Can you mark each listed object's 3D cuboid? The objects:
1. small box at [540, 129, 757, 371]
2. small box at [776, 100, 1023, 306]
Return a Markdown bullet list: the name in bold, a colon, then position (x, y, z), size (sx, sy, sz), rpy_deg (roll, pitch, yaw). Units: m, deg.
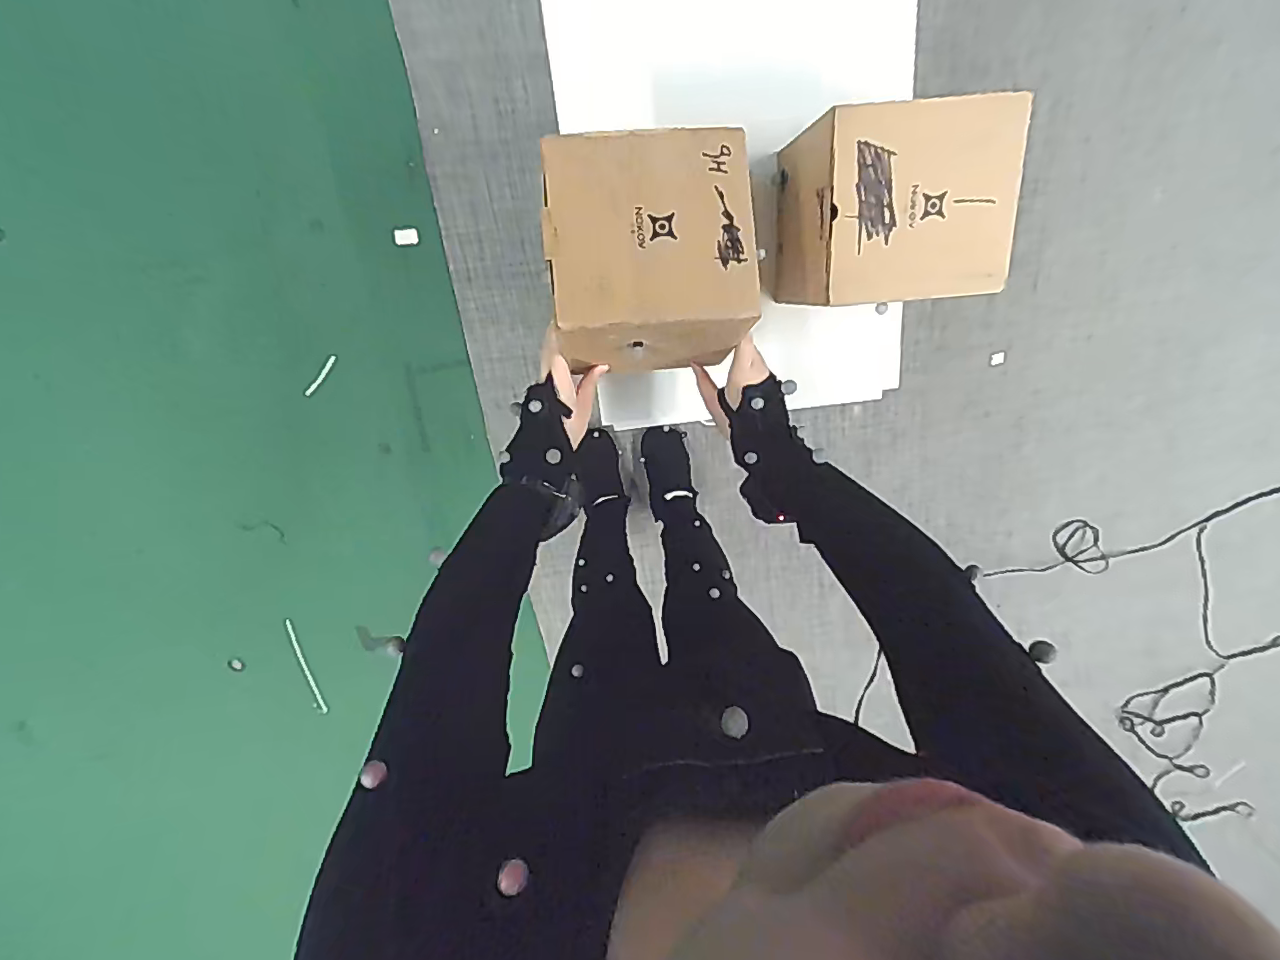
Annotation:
- **small box**: position (0.004, -0.210, 0.537), size (0.179, 0.176, 0.168), rpy_deg (-5, 88, -4)
- **small box**: position (0.250, -0.275, 0.571), size (0.179, 0.176, 0.168), rpy_deg (-5, 109, -2)
